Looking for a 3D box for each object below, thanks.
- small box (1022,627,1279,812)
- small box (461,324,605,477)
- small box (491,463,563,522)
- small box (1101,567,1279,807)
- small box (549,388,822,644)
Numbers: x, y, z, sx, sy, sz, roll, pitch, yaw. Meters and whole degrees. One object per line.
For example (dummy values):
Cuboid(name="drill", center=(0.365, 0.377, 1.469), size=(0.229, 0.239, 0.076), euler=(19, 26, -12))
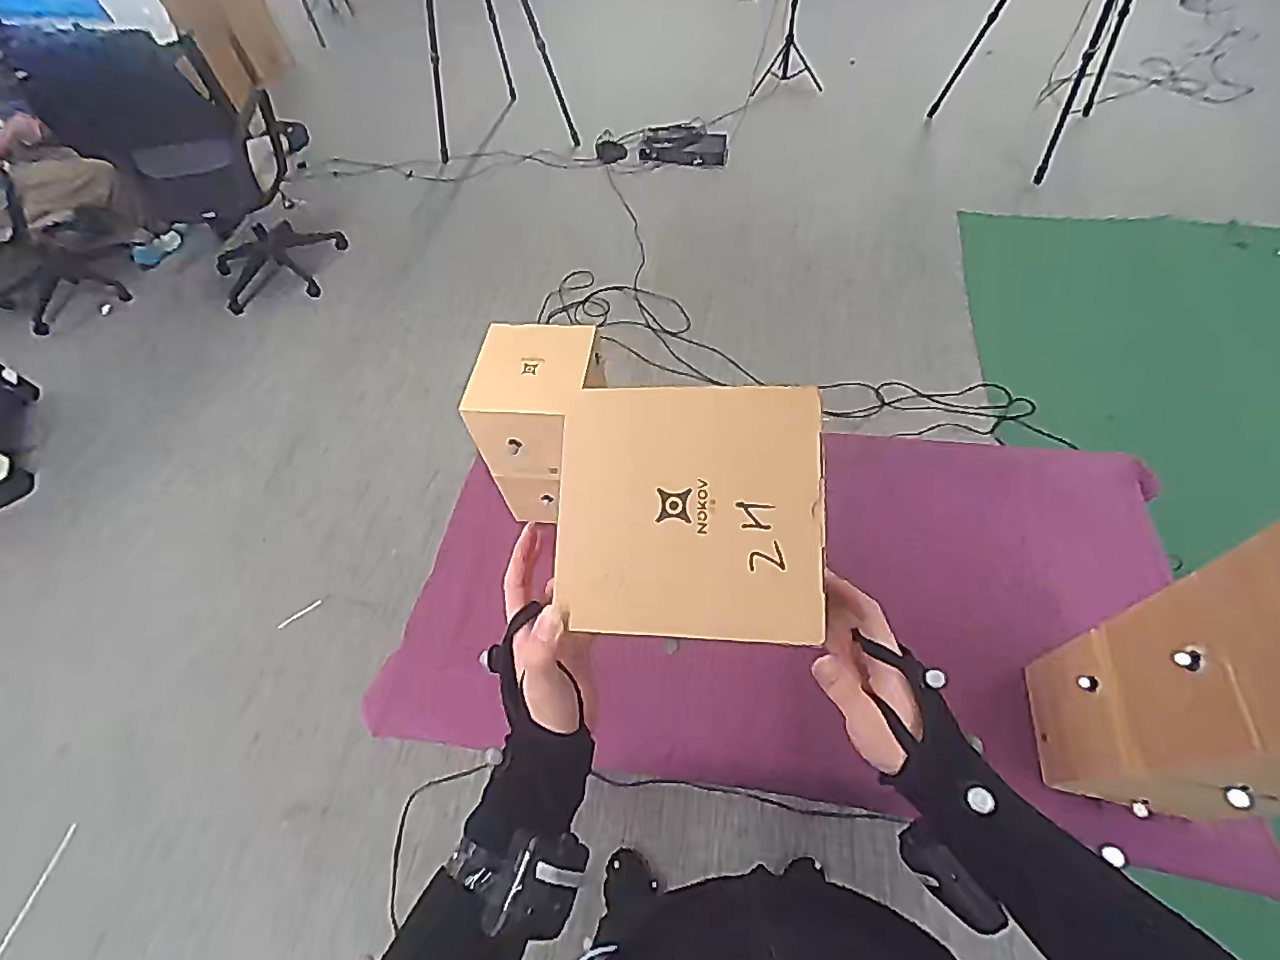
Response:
Cuboid(name="small box", center=(0.631, 0.308, 0.685), size=(0.179, 0.176, 0.168), euler=(9, 57, 10))
Cuboid(name="small box", center=(-0.148, -0.116, 0.831), size=(0.168, 0.176, 0.179), euler=(3, 57, 7))
Cuboid(name="small box", center=(-0.141, -0.032, 0.970), size=(0.179, 0.176, 0.168), euler=(2, 57, 7))
Cuboid(name="small box", center=(0.622, 0.214, 0.552), size=(0.168, 0.176, 0.179), euler=(8, 57, 12))
Cuboid(name="small box", center=(0.042, 0.032, 0.434), size=(0.179, 0.176, 0.168), euler=(2, 81, 8))
